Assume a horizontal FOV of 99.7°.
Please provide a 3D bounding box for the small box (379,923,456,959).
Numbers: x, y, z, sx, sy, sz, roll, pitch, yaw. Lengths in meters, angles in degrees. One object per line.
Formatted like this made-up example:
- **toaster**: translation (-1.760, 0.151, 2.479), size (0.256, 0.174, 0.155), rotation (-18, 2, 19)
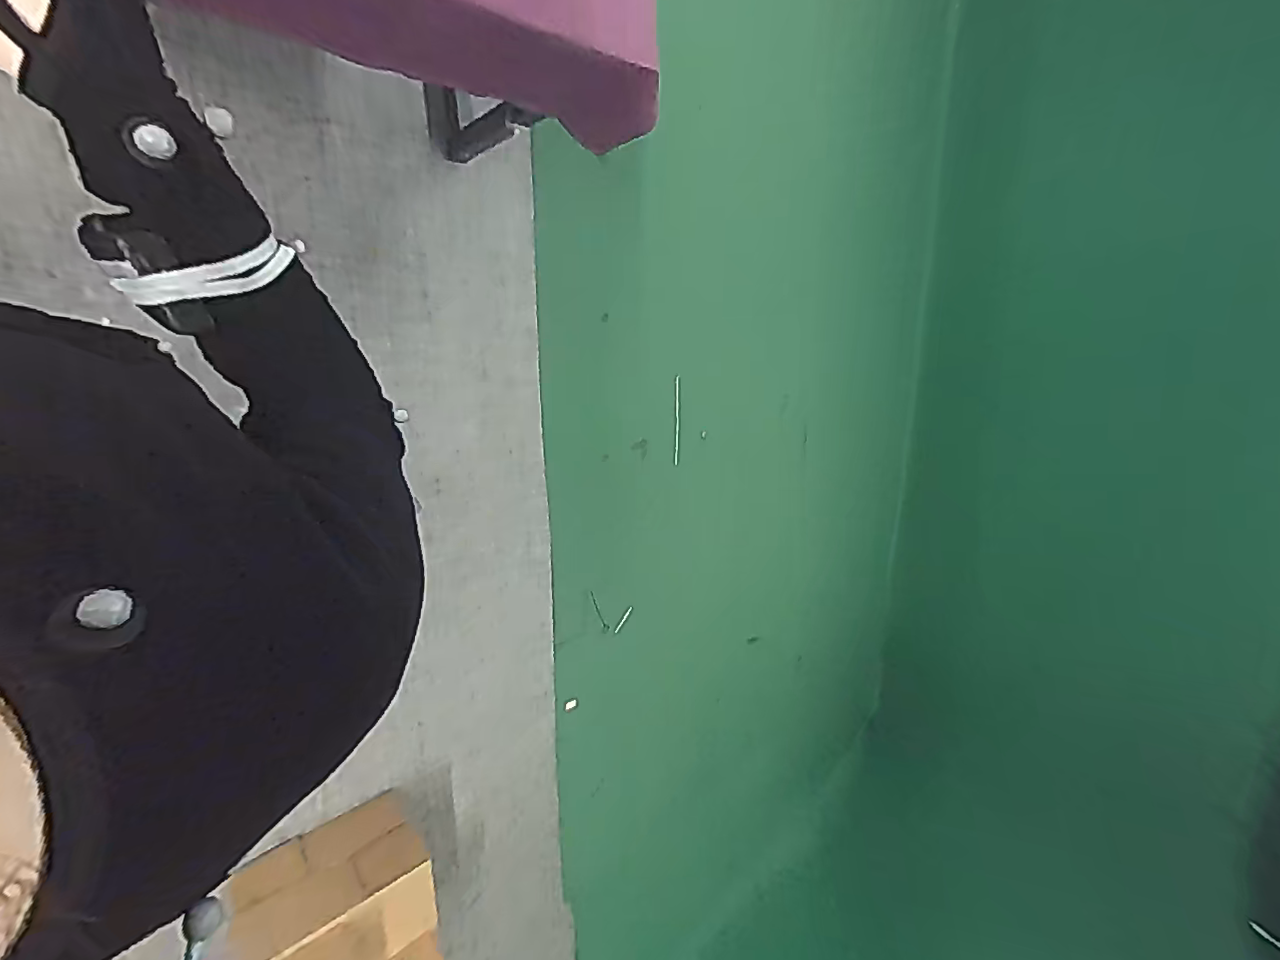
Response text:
- **small box**: translation (-0.560, 1.300, 1.378), size (0.168, 0.176, 0.179), rotation (-13, 112, -43)
